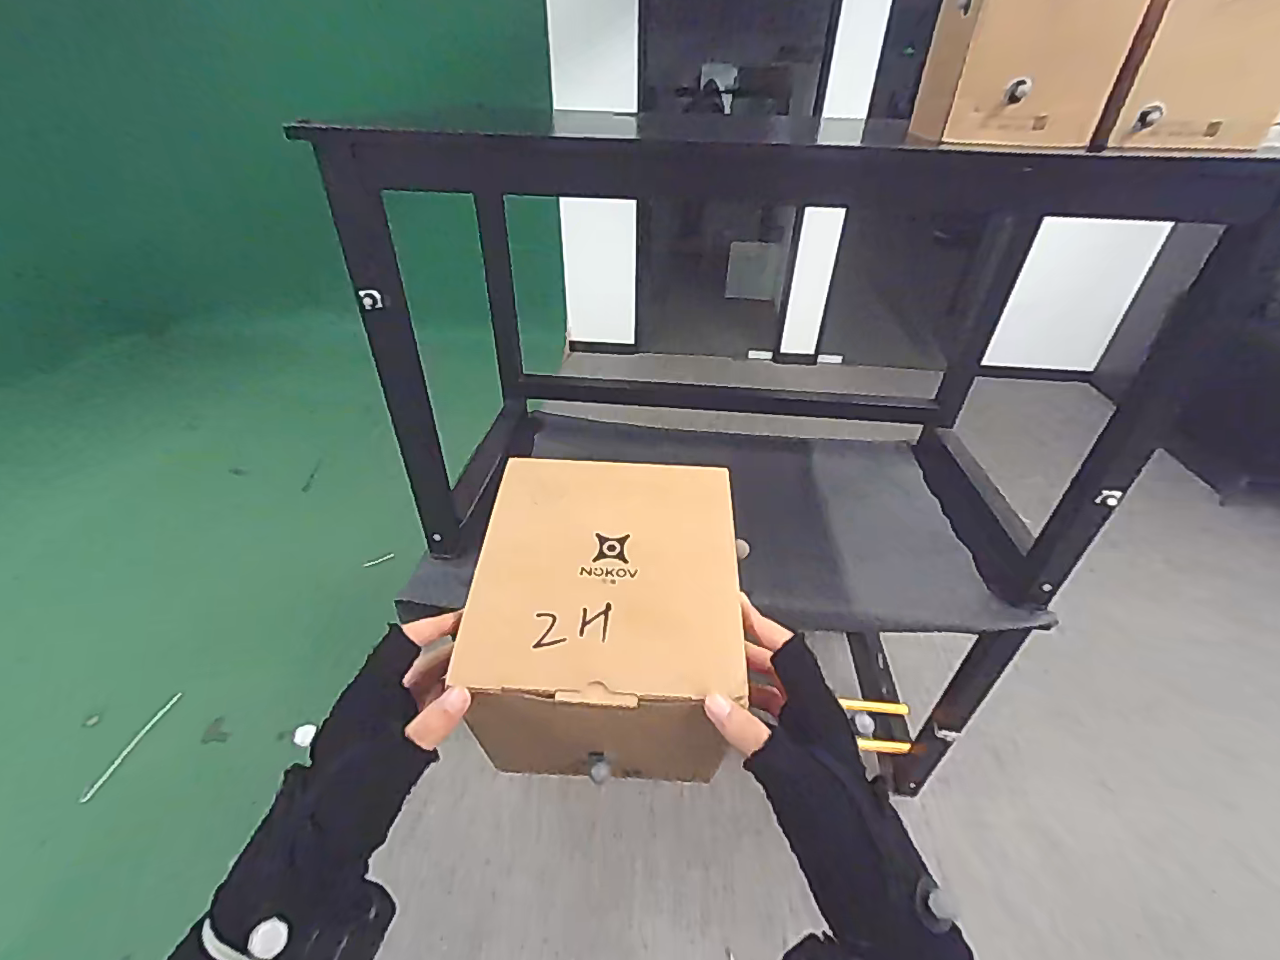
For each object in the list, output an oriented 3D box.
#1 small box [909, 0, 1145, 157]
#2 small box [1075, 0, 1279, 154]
[{"bbox_3d":[0.460,-0.513,0.675,0.168,0.176,0.179,7,37,7],"label":"small box"},{"bbox_3d":[0.640,-0.499,0.657,0.168,0.176,0.179,6,35,7],"label":"small box"}]
